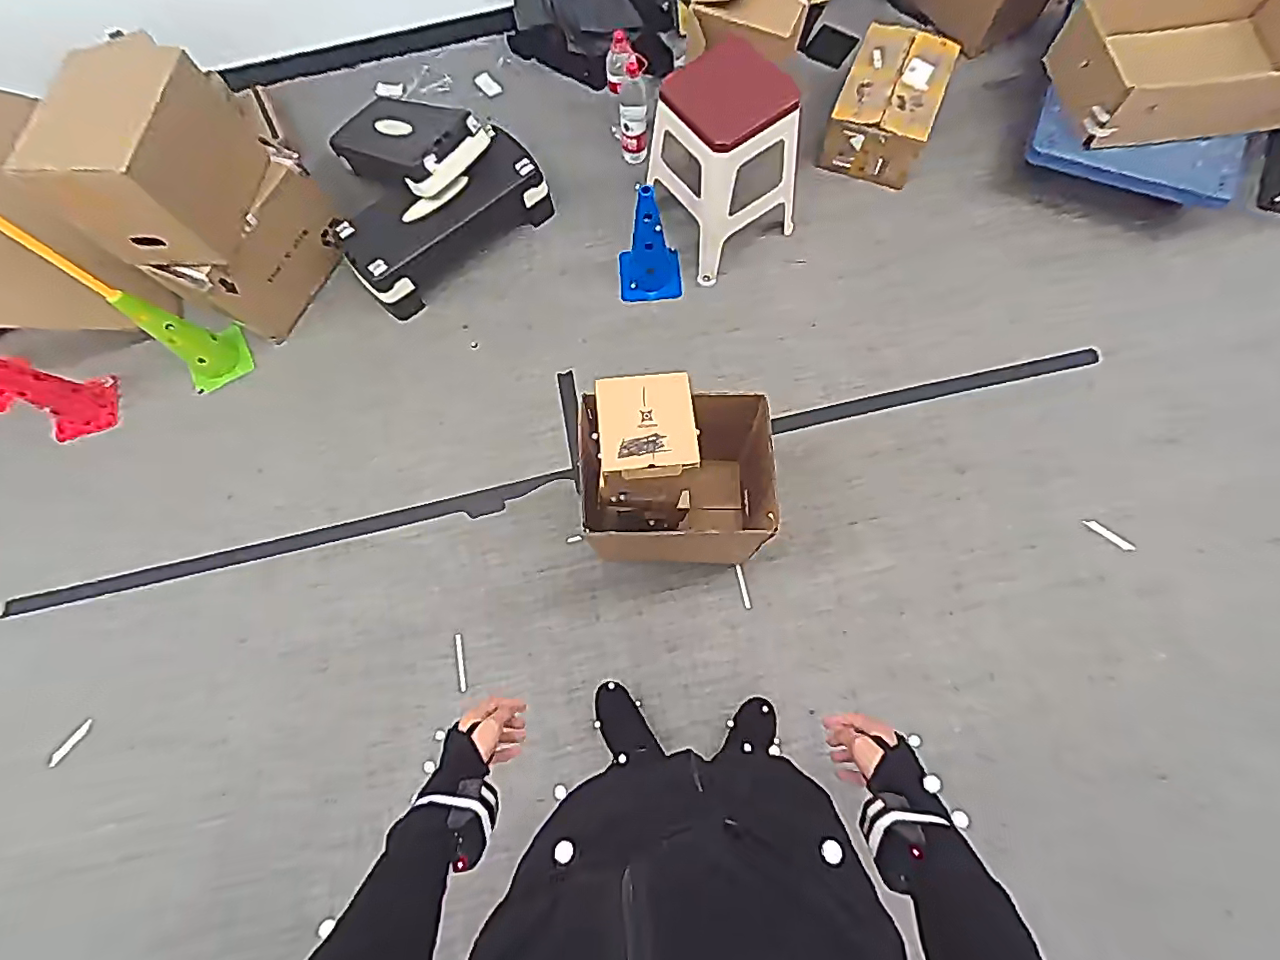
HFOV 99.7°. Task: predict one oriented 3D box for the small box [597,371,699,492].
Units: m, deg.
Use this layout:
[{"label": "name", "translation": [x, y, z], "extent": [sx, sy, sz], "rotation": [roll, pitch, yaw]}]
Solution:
[{"label": "small box", "translation": [0.013, -0.079, 0.994], "extent": [0.168, 0.176, 0.179], "rotation": [-5, 74, -2]}]
